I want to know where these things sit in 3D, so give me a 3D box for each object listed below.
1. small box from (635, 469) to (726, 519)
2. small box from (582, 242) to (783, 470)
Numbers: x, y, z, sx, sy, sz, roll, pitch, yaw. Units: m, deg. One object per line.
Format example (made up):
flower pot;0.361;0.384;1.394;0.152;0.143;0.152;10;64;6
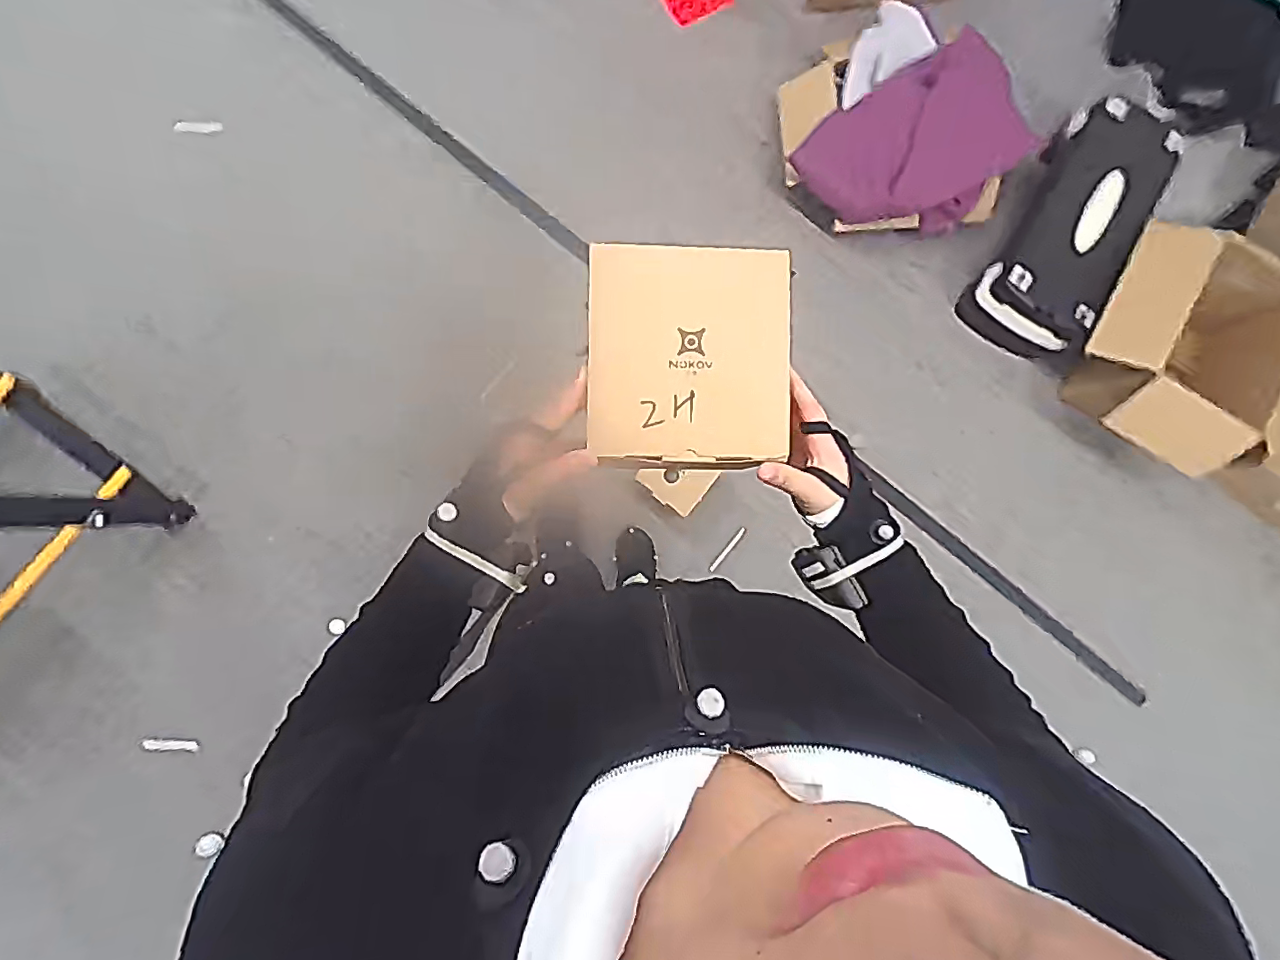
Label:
small box;0.103;-0.013;1.442;0.168;0.176;0.179;39;86;0
small box;0.030;-0.102;0.517;0.168;0.176;0.179;0;88;-3
